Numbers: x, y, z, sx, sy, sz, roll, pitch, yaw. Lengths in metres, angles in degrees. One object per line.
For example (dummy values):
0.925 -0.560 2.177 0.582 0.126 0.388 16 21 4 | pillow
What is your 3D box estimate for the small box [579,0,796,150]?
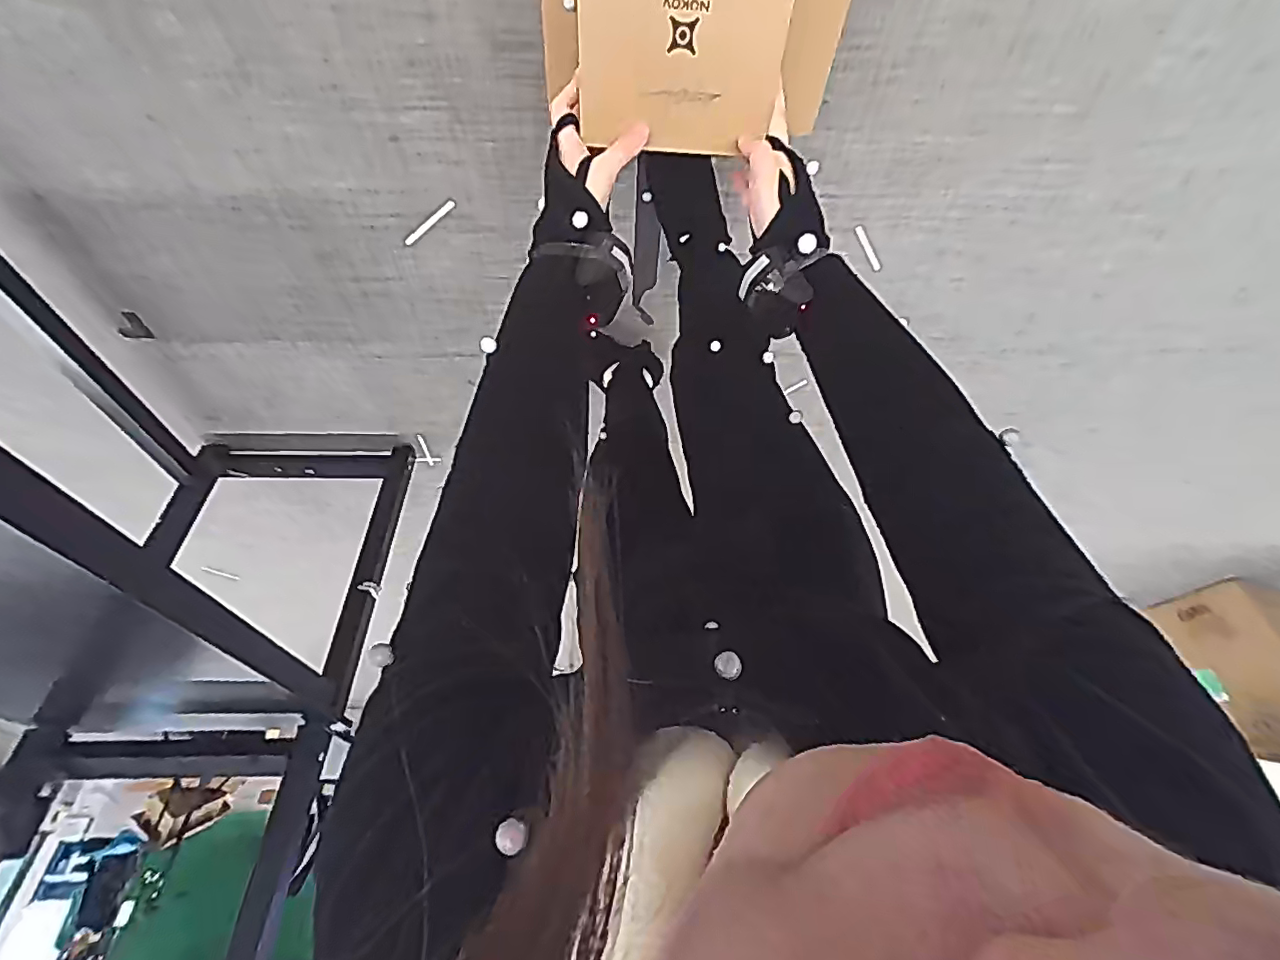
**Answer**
0.034 -0.415 0.464 0.168 0.176 0.179 3 141 -3 | small box
